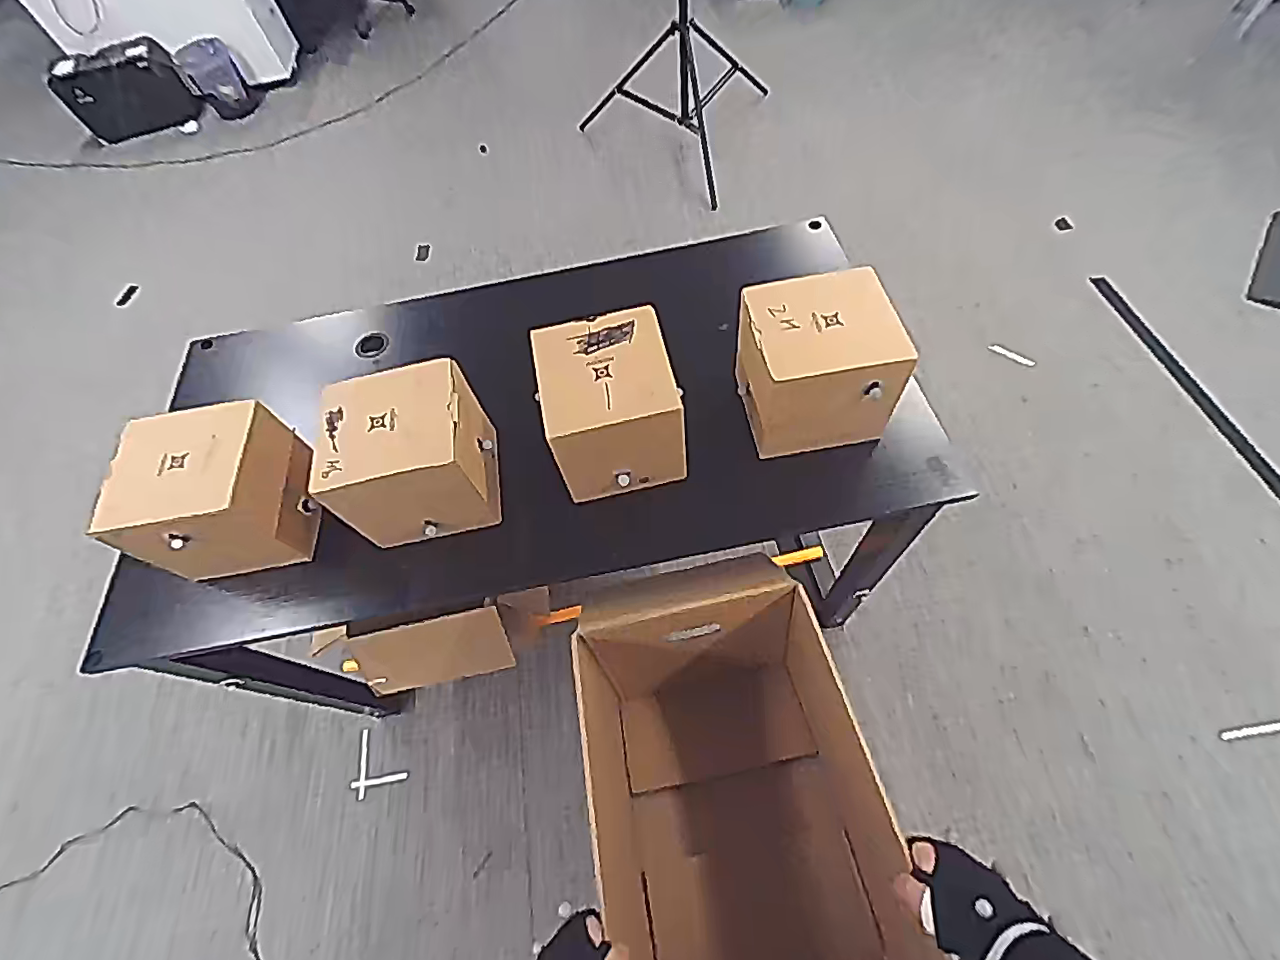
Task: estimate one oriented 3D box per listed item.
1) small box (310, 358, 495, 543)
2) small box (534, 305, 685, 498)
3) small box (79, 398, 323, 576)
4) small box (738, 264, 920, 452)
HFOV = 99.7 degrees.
[{"bbox_3d":[-0.300,-0.033,0.724,0.179,0.176,0.168,-12,60,-2],"label":"small box"},{"bbox_3d":[-0.037,-0.101,0.732,0.168,0.176,0.179,-13,60,-1],"label":"small box"},{"bbox_3d":[-0.559,0.018,0.724,0.179,0.176,0.168,-9,61,0],"label":"small box"},{"bbox_3d":[0.237,-0.157,0.731,0.179,0.176,0.168,-10,59,2],"label":"small box"}]
